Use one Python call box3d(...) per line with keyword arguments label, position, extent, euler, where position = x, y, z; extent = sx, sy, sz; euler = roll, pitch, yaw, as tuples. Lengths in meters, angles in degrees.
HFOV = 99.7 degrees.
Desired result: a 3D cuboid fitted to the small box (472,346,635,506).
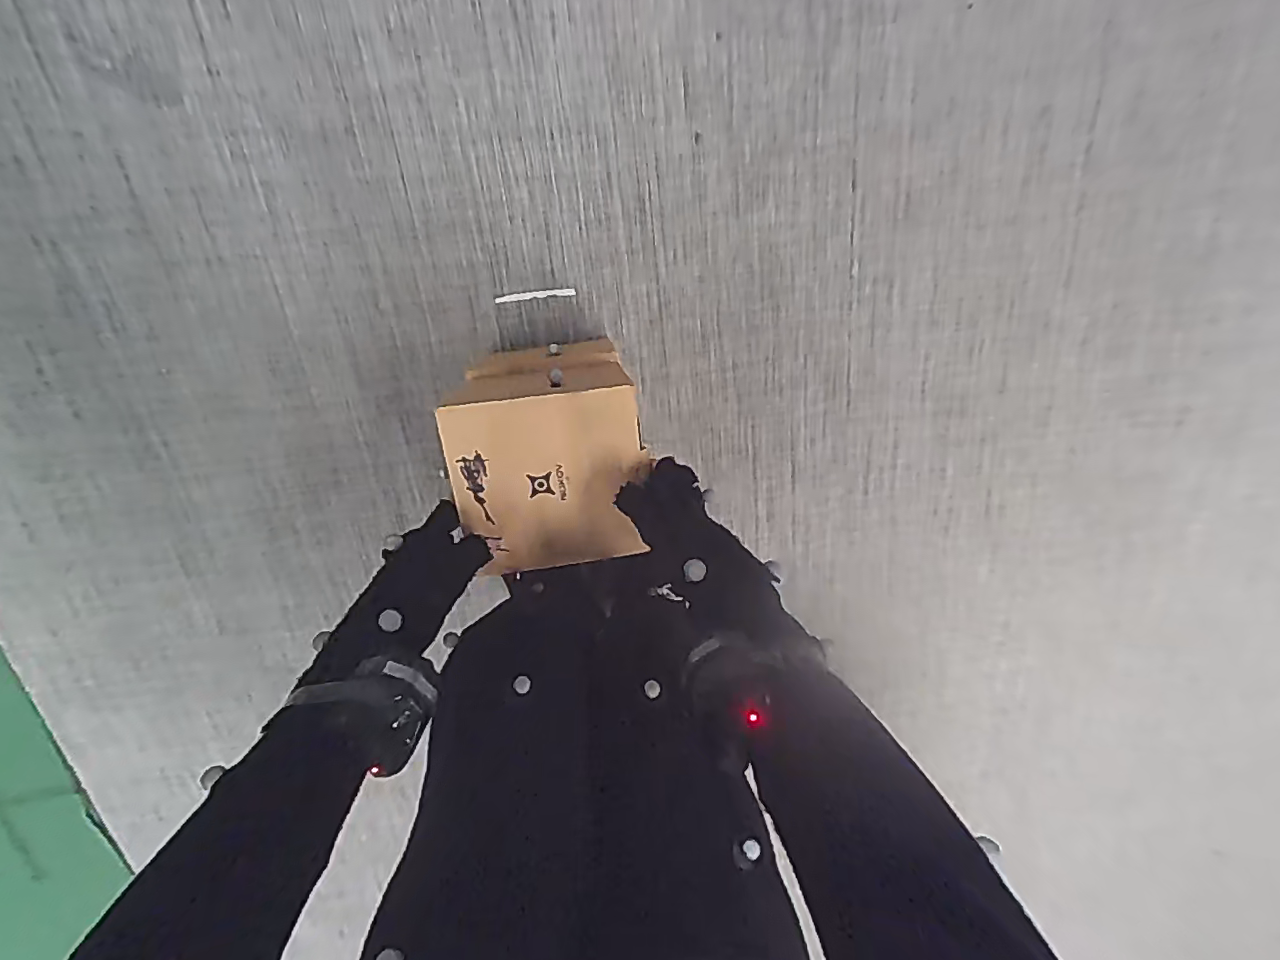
box3d(label="small box", position=(-0.108, -0.081, 0.723), extent=(0.179, 0.176, 0.168), euler=(-8, 109, -3))
